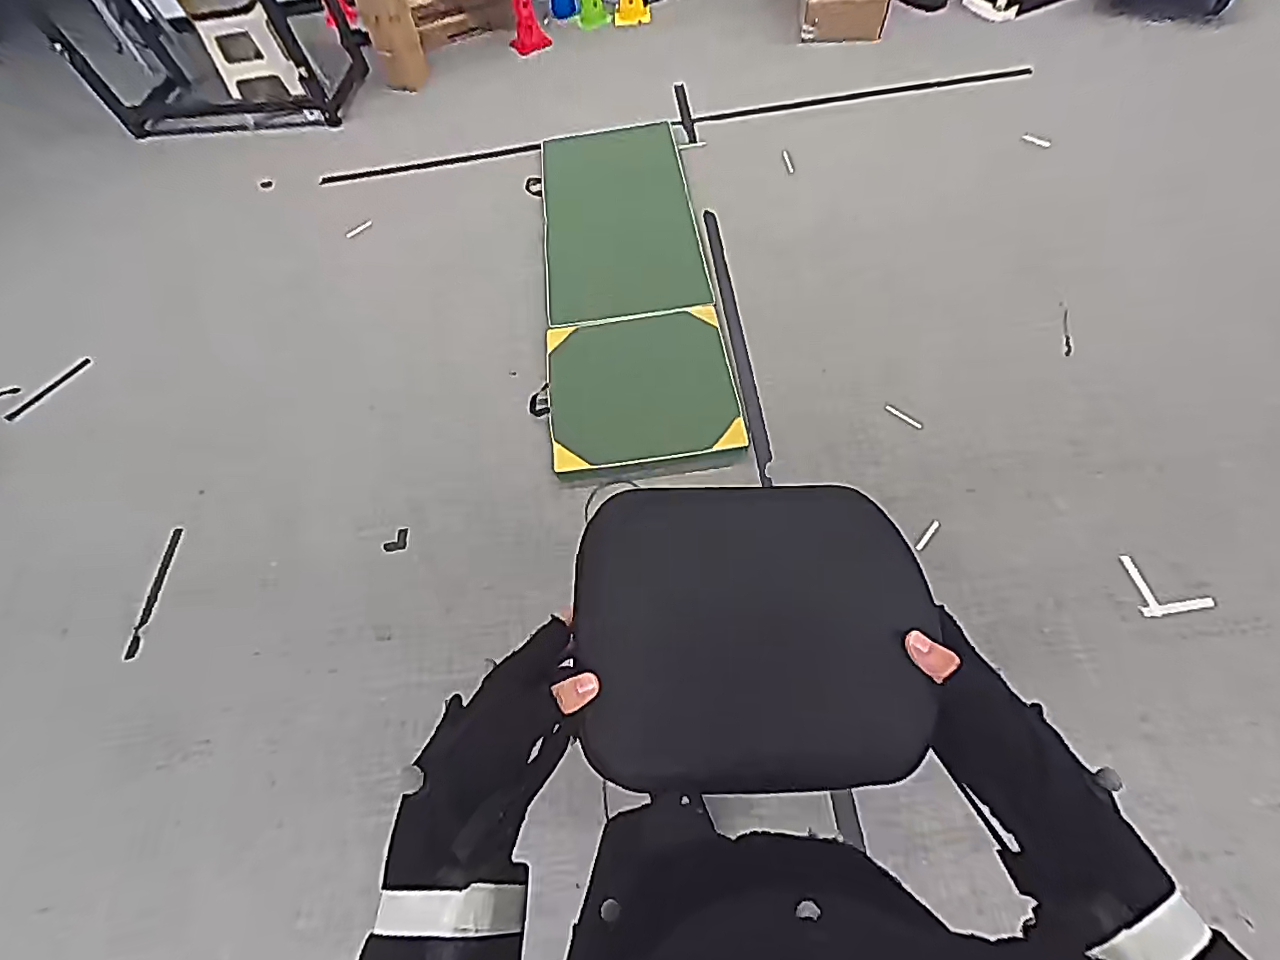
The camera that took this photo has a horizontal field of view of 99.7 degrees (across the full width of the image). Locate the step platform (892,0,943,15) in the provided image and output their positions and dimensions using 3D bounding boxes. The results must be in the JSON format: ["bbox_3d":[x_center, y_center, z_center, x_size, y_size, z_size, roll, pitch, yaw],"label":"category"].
[{"bbox_3d":[1.688,-2.731,2.863,0.684,0.204,0.286,-34,64,-12],"label":"step platform"}]
